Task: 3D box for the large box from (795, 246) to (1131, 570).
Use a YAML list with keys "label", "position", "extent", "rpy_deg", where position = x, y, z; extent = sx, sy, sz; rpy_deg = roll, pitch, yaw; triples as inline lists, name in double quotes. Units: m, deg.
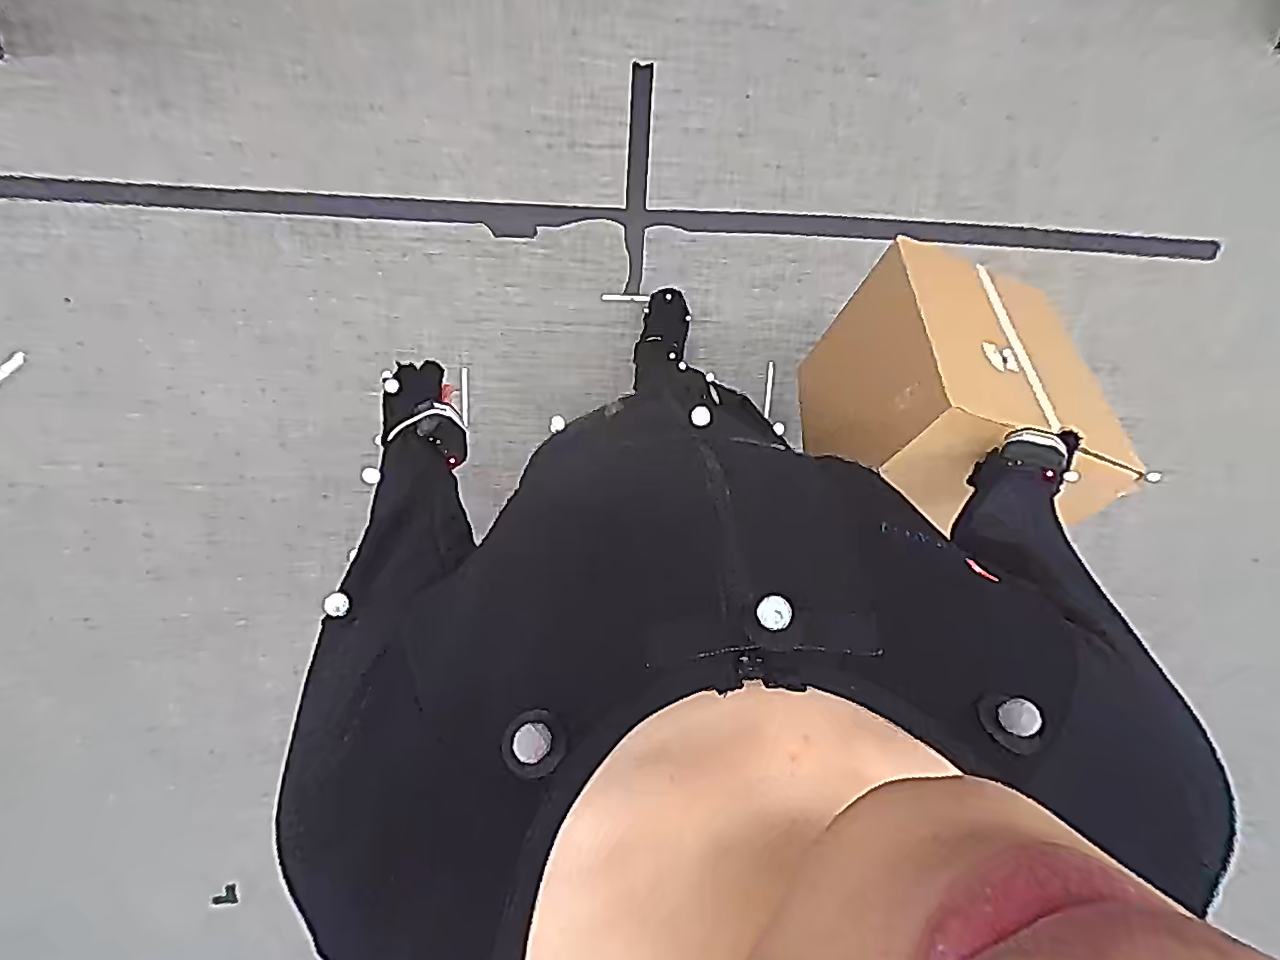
- label: "large box"
  position: [0.494, -0.115, 0.933]
  extent: [0.320, 0.408, 0.320]
  rpy_deg: [16, 142, -11]
